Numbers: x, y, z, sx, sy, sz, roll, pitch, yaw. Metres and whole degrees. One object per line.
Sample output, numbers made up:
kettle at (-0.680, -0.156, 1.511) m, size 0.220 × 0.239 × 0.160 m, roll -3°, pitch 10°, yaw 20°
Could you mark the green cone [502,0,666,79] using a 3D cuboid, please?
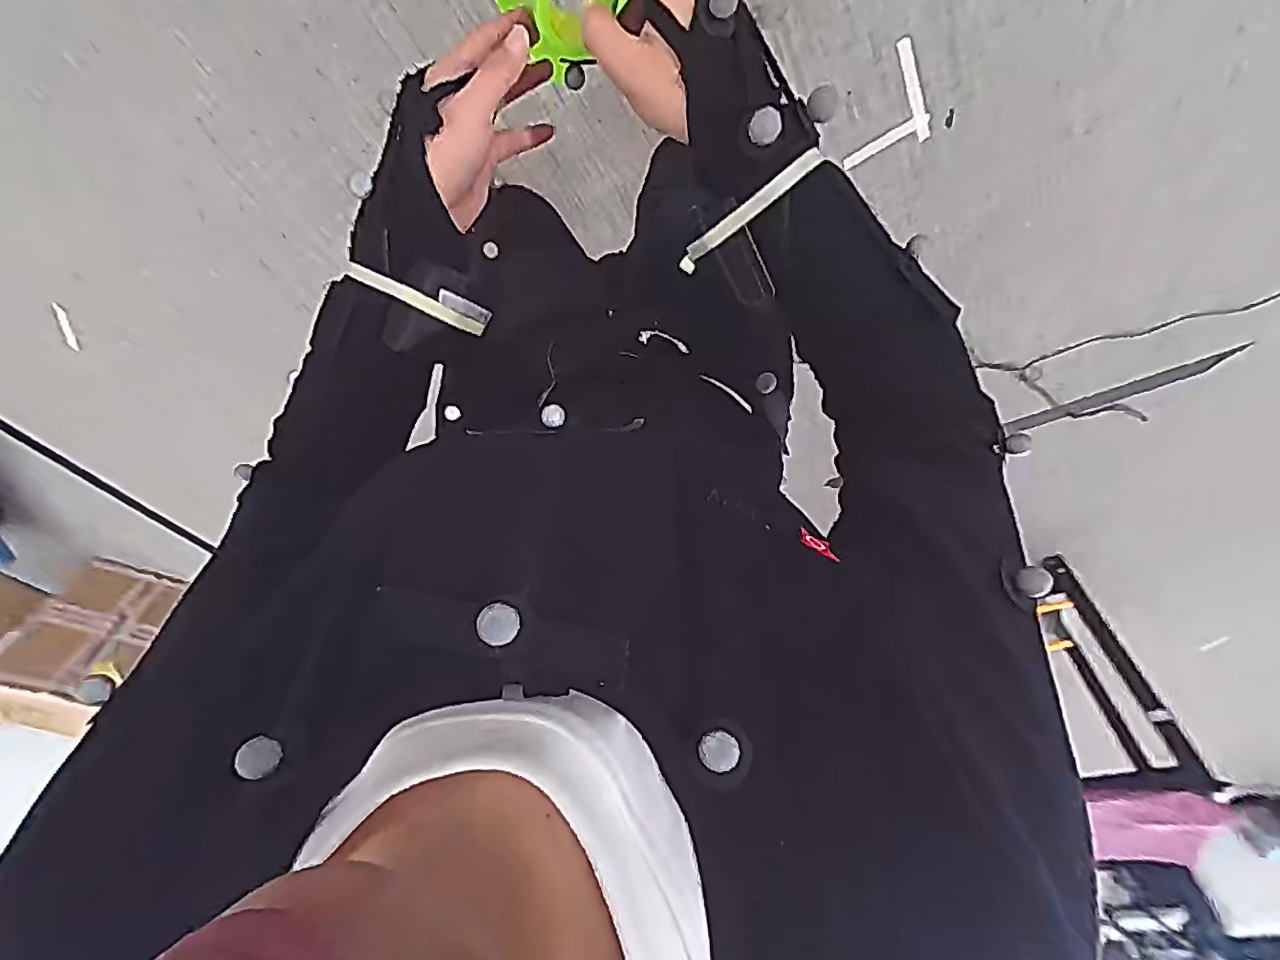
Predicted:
green cone at (-0.046, -0.384, 0.387) m, size 0.202 × 0.368 × 0.200 m, roll -25°, pitch 138°, yaw 24°
